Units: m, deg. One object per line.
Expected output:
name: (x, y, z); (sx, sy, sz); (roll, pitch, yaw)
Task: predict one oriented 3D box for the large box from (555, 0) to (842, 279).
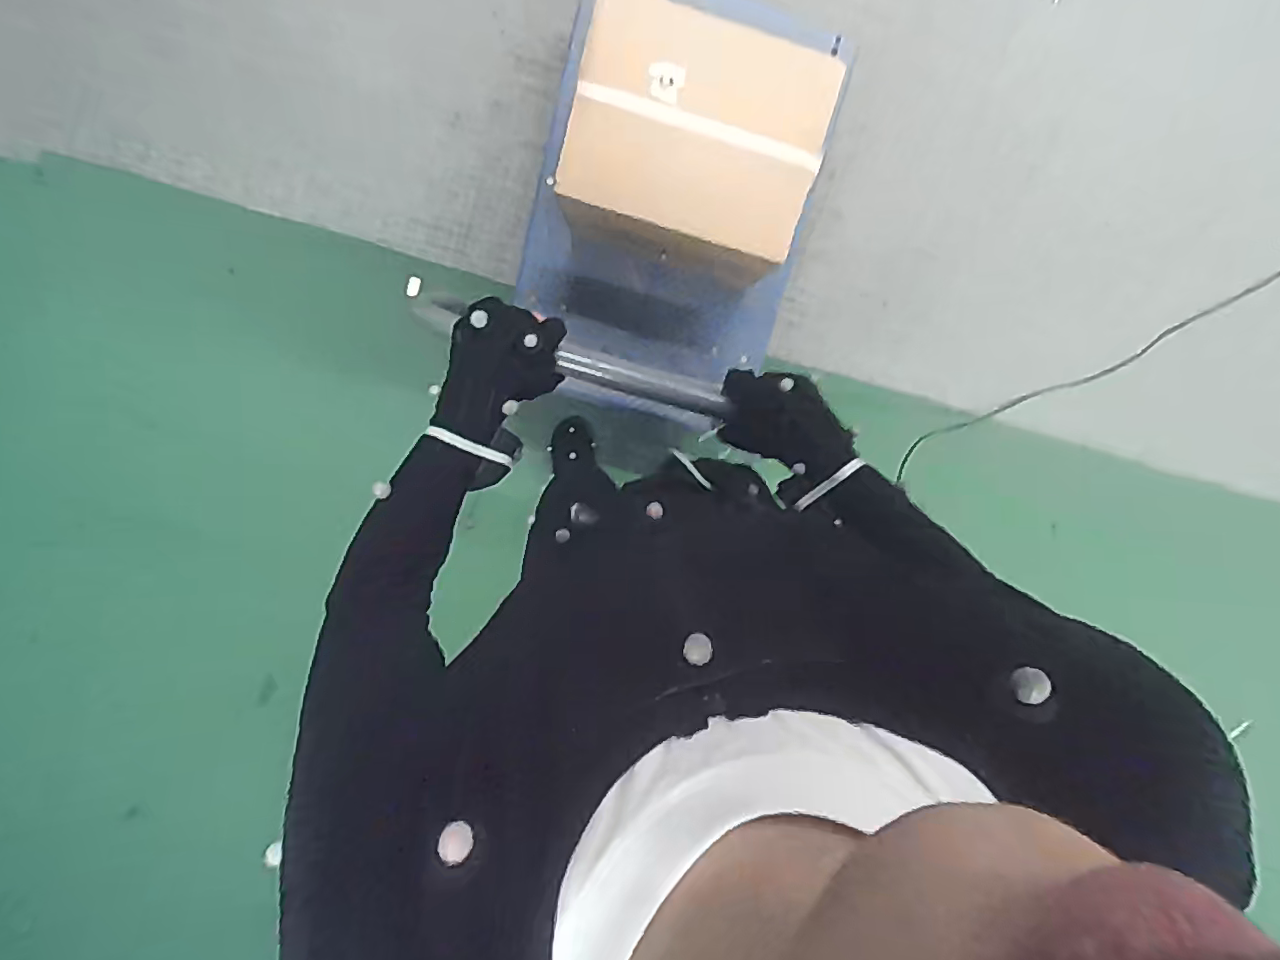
large box: (0.092, -0.601, 1.011); (0.408, 0.320, 0.320); (15, 100, -2)
